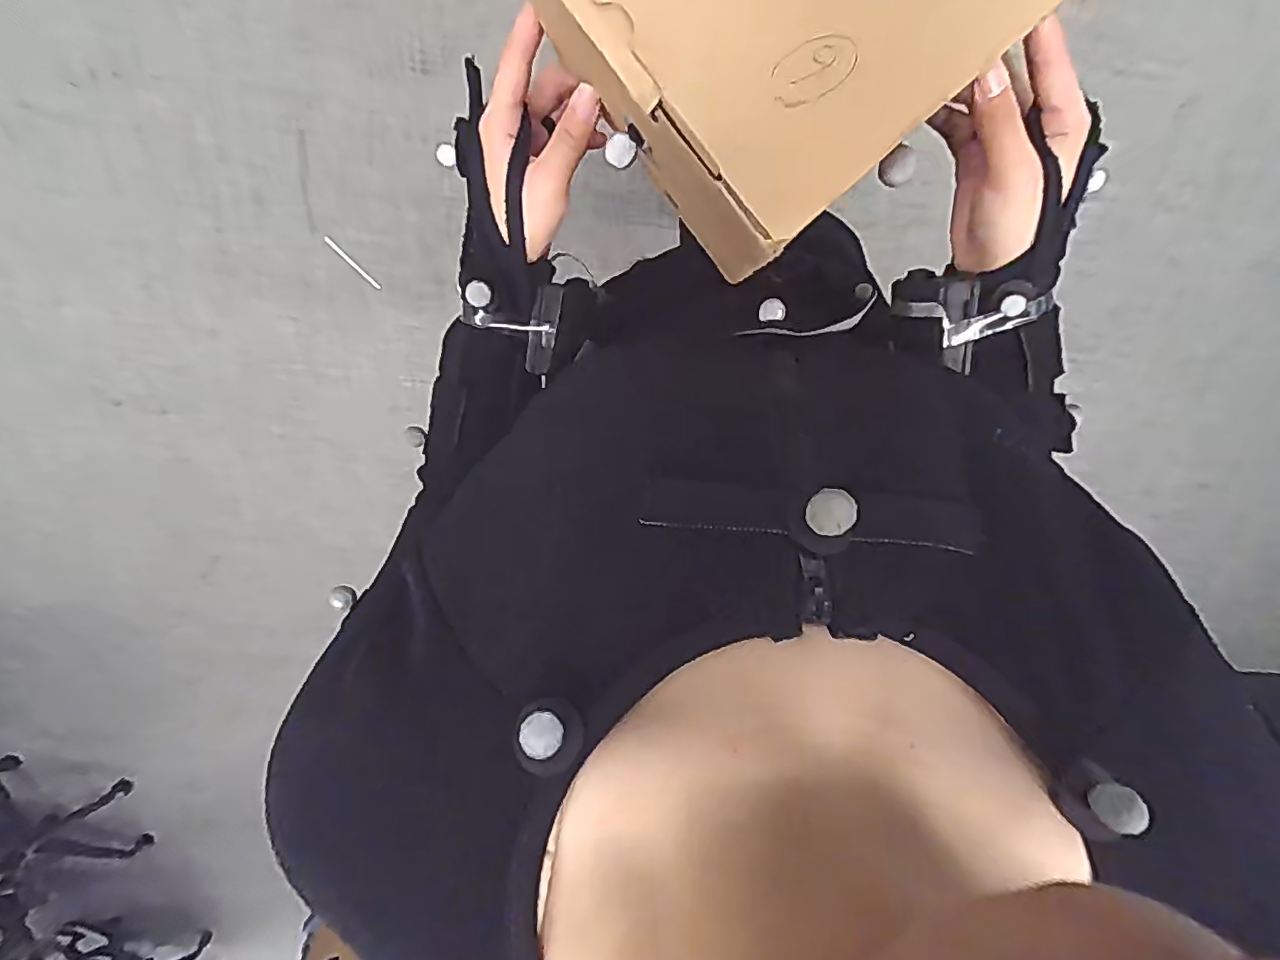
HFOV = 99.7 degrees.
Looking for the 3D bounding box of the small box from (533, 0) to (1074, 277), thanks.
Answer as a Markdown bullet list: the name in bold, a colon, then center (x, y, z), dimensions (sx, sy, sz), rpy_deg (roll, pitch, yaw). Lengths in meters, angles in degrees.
- **small box**: center (0.063, -0.207, 0.223), dimensions (0.179, 0.176, 0.168), rpy_deg (-39, 99, 15)
